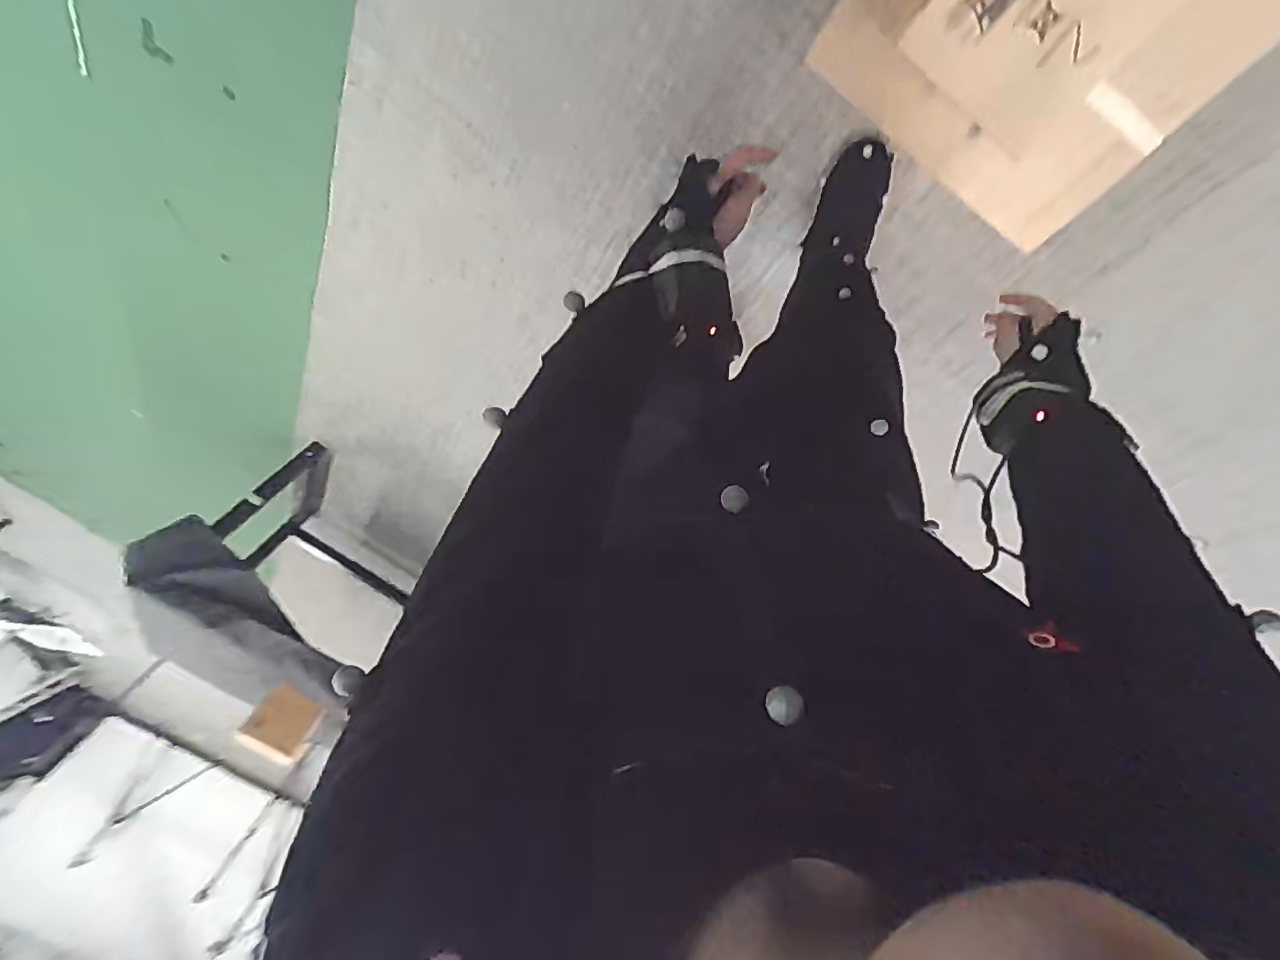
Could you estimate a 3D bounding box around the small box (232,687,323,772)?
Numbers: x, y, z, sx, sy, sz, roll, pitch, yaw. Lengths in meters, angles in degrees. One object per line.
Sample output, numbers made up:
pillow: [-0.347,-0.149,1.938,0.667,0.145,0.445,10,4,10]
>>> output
small box: [-1.126,0.778,1.688,0.179,0.176,0.168,35,134,-8]

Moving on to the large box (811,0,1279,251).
large box: [0.492,-0.597,0.722,0.408,0.320,0.320,33,134,-9]

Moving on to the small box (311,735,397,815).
small box: [-0.922,0.946,1.747,0.179,0.176,0.168,33,135,-8]
